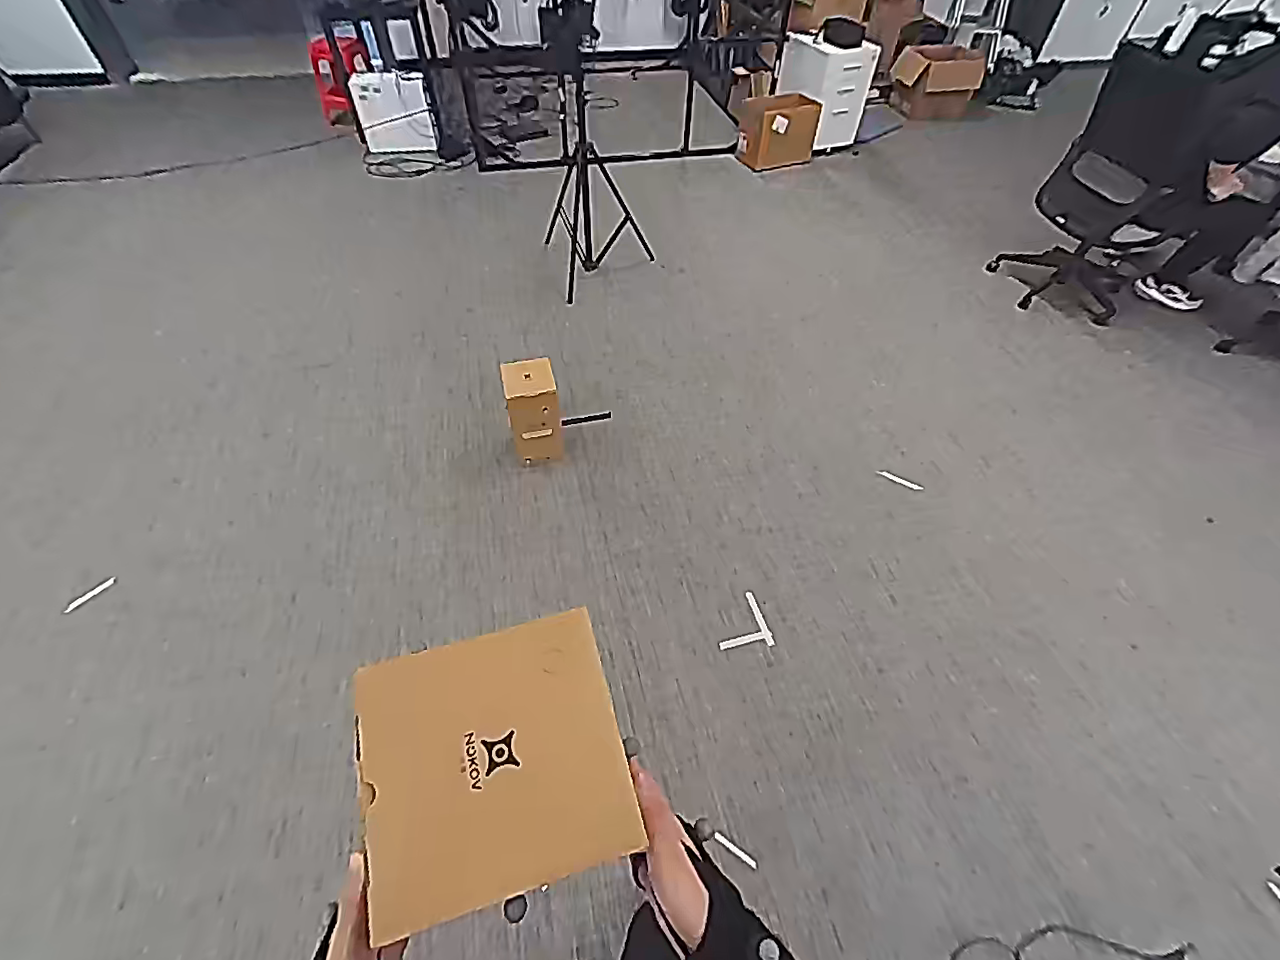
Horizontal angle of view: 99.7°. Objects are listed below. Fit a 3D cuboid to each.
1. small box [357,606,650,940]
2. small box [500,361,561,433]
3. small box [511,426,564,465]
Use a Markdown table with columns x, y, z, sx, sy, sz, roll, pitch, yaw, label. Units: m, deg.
| x | y | z | sx | sy | sz | roll | pitch | yaw | label |
| --- | --- | --- | --- | --- | --- | --- | --- | --- | --- |
| -0.103 | 0.222 | 0.443 | 0.179 | 0.176 | 0.168 | -15 | 64 | -10 | small box |
| -0.369 | -0.275 | 1.832 | 0.168 | 0.176 | 0.179 | -11 | 51 | -12 | small box |
| -0.373 | -0.171 | 1.957 | 0.168 | 0.176 | 0.179 | -11 | 51 | -10 | small box |
